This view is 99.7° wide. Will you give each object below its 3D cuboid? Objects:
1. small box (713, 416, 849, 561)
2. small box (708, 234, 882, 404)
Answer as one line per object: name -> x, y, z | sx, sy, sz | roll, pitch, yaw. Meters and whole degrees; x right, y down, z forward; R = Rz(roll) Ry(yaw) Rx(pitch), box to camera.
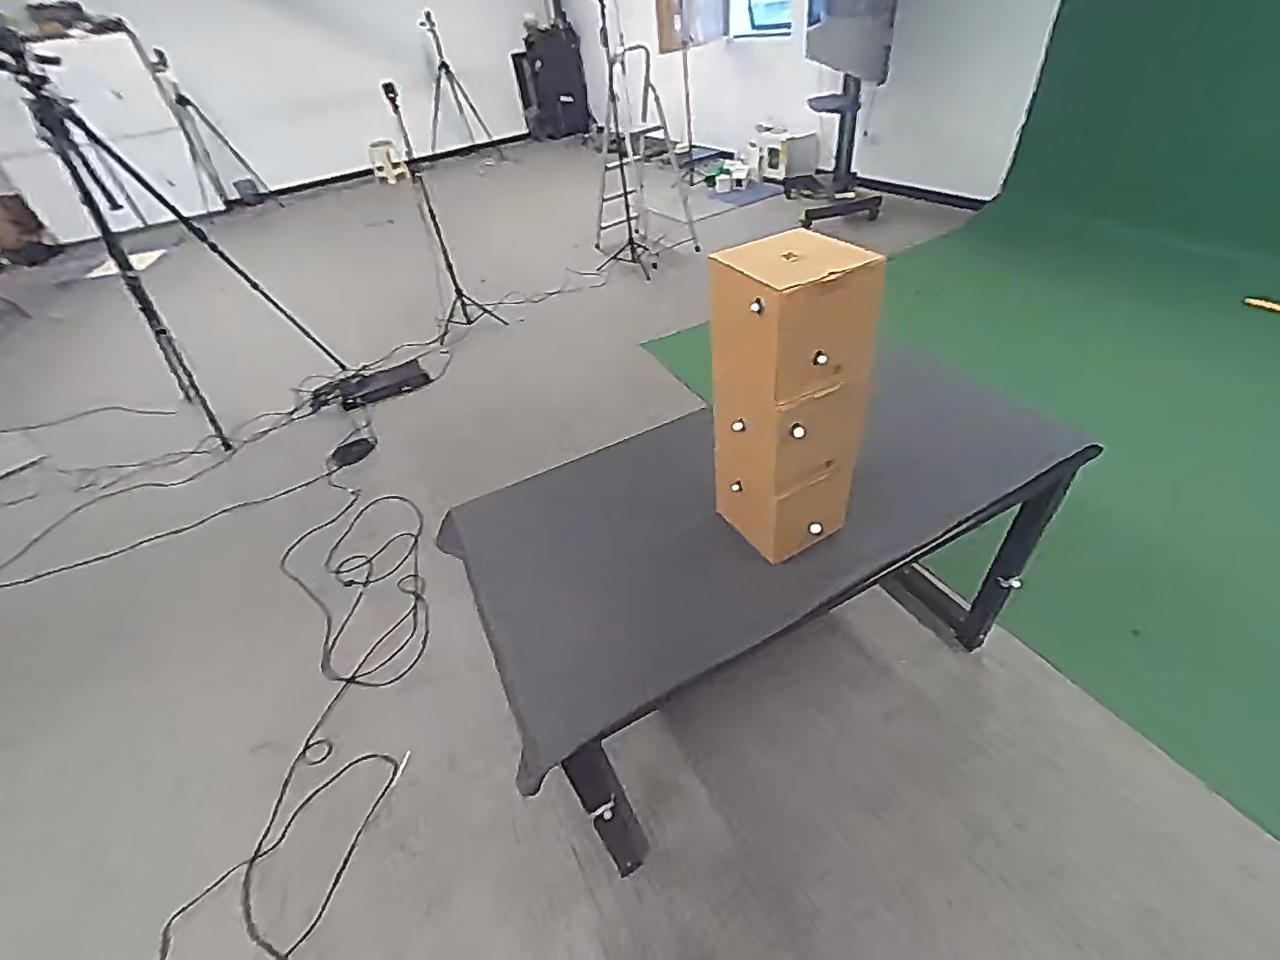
small box -> 0.249, 0.015, 0.991 | 0.168, 0.176, 0.179 | -25, 44, -17
small box -> 0.211, -0.235, 0.784 | 0.168, 0.176, 0.179 | -22, 43, -15
